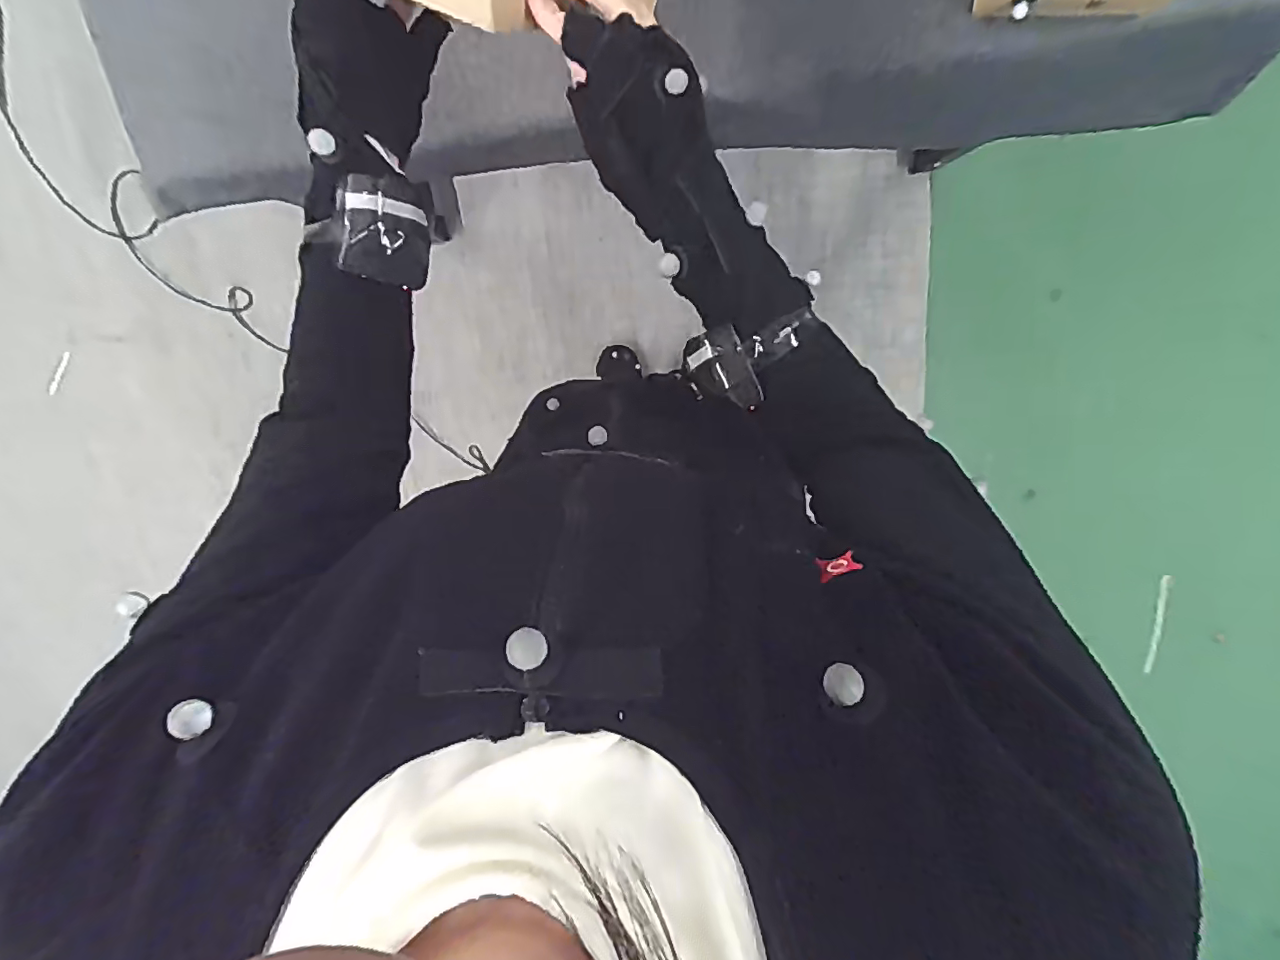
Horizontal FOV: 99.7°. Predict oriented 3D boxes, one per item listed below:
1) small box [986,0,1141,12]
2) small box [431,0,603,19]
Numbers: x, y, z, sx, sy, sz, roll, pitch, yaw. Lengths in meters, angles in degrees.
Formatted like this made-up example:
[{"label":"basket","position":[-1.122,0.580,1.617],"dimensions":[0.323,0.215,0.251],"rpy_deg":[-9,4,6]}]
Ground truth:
[{"label":"small box","position":[0.401,-0.520,0.436],"dimensions":[0.168,0.176,0.179],"rpy_deg":[2,106,2]},{"label":"small box","position":[-0.091,-0.390,0.300],"dimensions":[0.179,0.176,0.168],"rpy_deg":[35,143,14]}]
